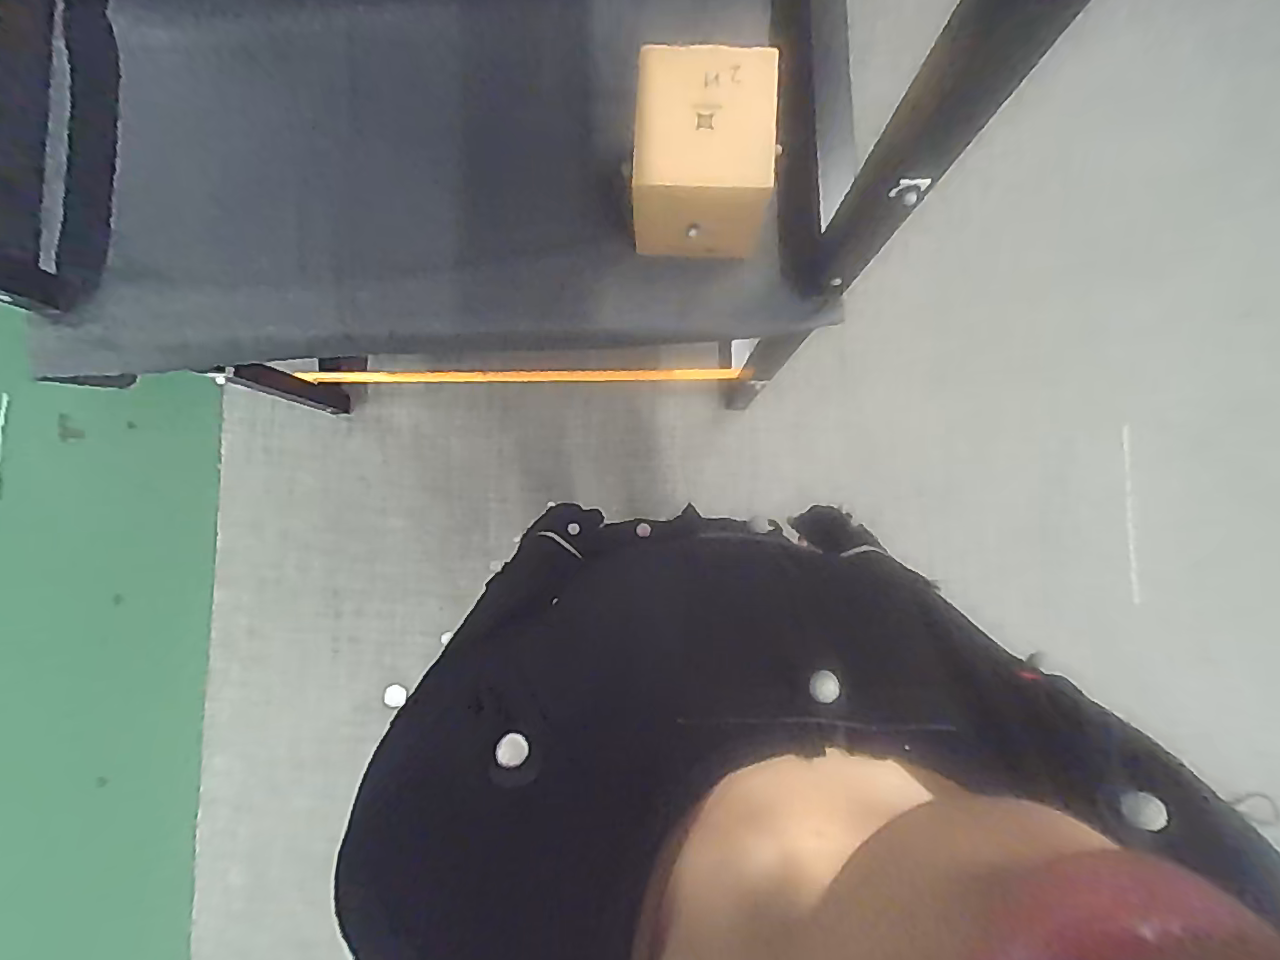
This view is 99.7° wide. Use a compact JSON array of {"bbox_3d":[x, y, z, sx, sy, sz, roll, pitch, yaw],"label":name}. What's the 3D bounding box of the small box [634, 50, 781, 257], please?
[{"bbox_3d":[0.082,-0.415,0.713,0.168,0.176,0.179,3,85,1],"label":"small box"}]
